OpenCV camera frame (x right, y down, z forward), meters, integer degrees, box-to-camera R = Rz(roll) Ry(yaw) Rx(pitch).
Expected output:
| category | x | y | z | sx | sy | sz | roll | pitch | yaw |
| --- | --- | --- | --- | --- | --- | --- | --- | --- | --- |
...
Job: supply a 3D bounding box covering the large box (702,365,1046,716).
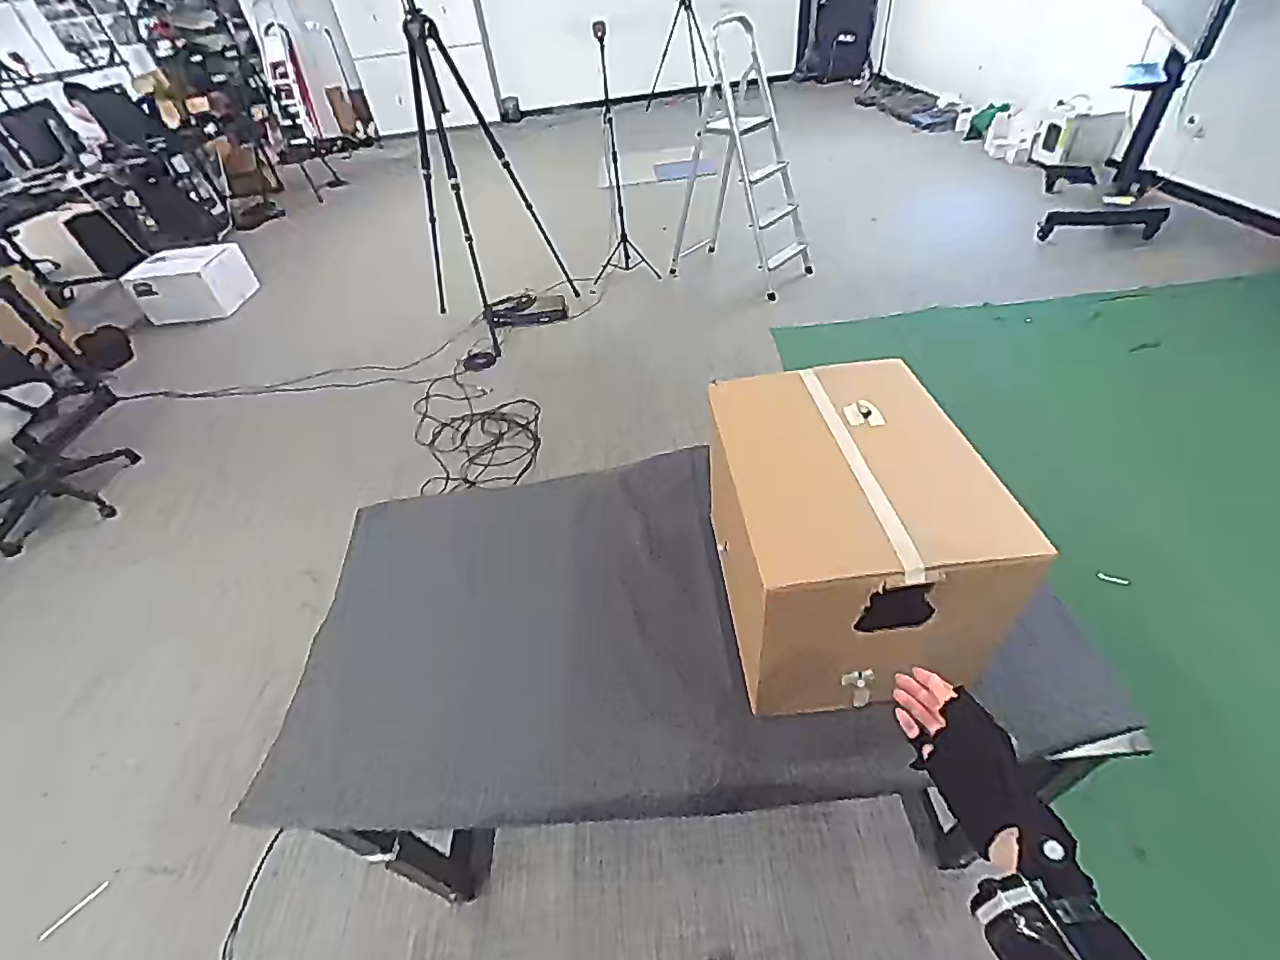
| category | x | y | z | sx | sy | sz | roll | pitch | yaw |
| --- | --- | --- | --- | --- | --- | --- | --- | --- | --- |
| large box | 0.284 | 0.078 | 0.814 | 0.320 | 0.320 | 0.408 | -7 | 41 | 1 |
